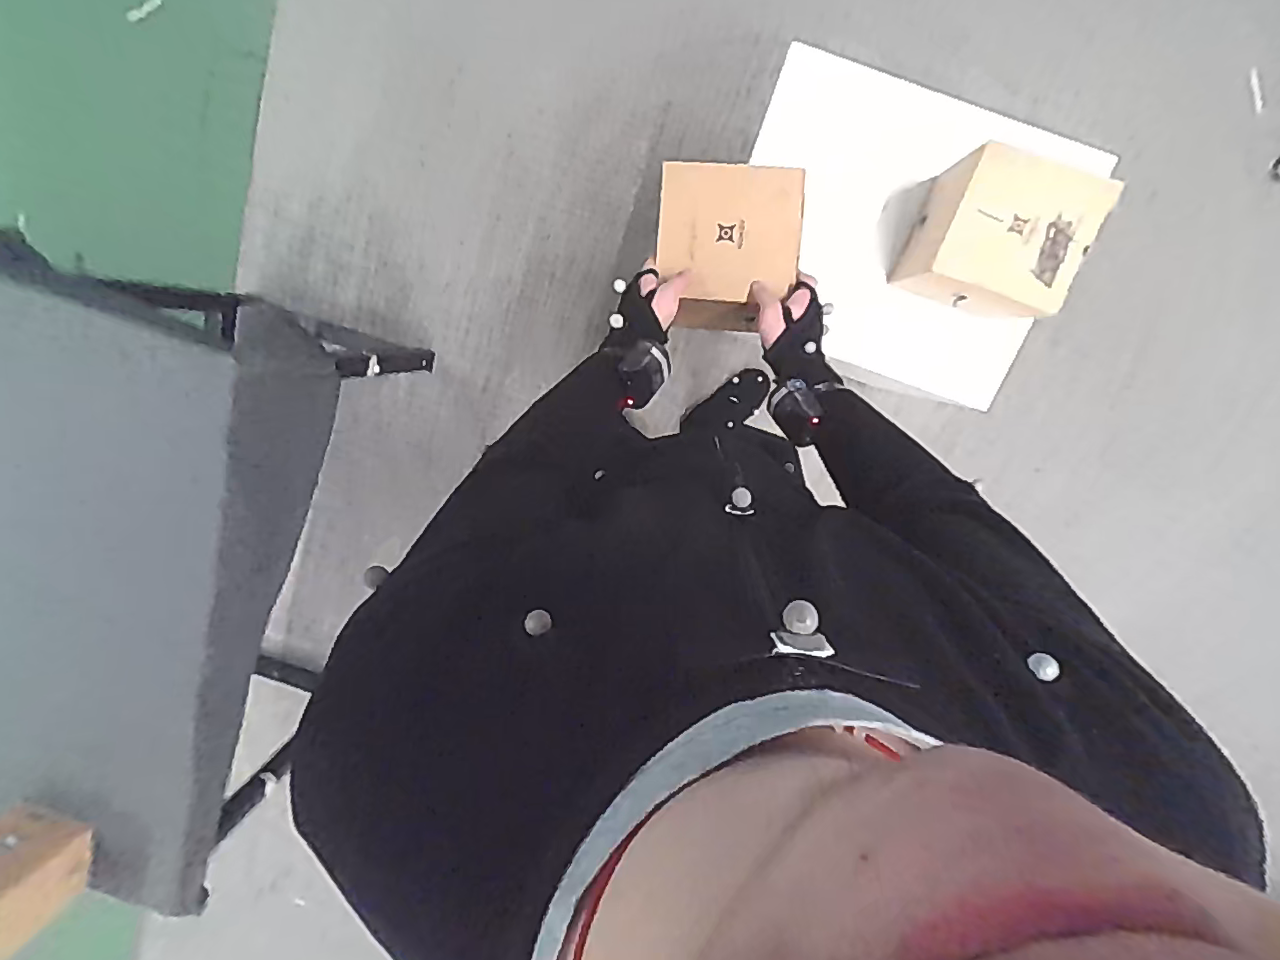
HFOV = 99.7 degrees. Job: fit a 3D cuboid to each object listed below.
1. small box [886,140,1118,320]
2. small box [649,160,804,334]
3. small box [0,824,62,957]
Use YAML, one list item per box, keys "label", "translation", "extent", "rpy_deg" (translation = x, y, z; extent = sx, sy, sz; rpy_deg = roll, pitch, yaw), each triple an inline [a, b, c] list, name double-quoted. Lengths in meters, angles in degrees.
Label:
- label: "small box"
  translation: [0.485, -0.332, 0.757]
  extent: [0.179, 0.176, 0.168]
  rpy_deg: [20, 104, -1]
- label: "small box"
  translation: [0.106, -0.298, 0.723]
  extent: [0.179, 0.176, 0.168]
  rpy_deg: [3, 92, 4]
- label: "small box"
  translation: [-1.224, 0.771, 0.986]
  extent: [0.168, 0.176, 0.179]
  rpy_deg: [19, 102, 0]
